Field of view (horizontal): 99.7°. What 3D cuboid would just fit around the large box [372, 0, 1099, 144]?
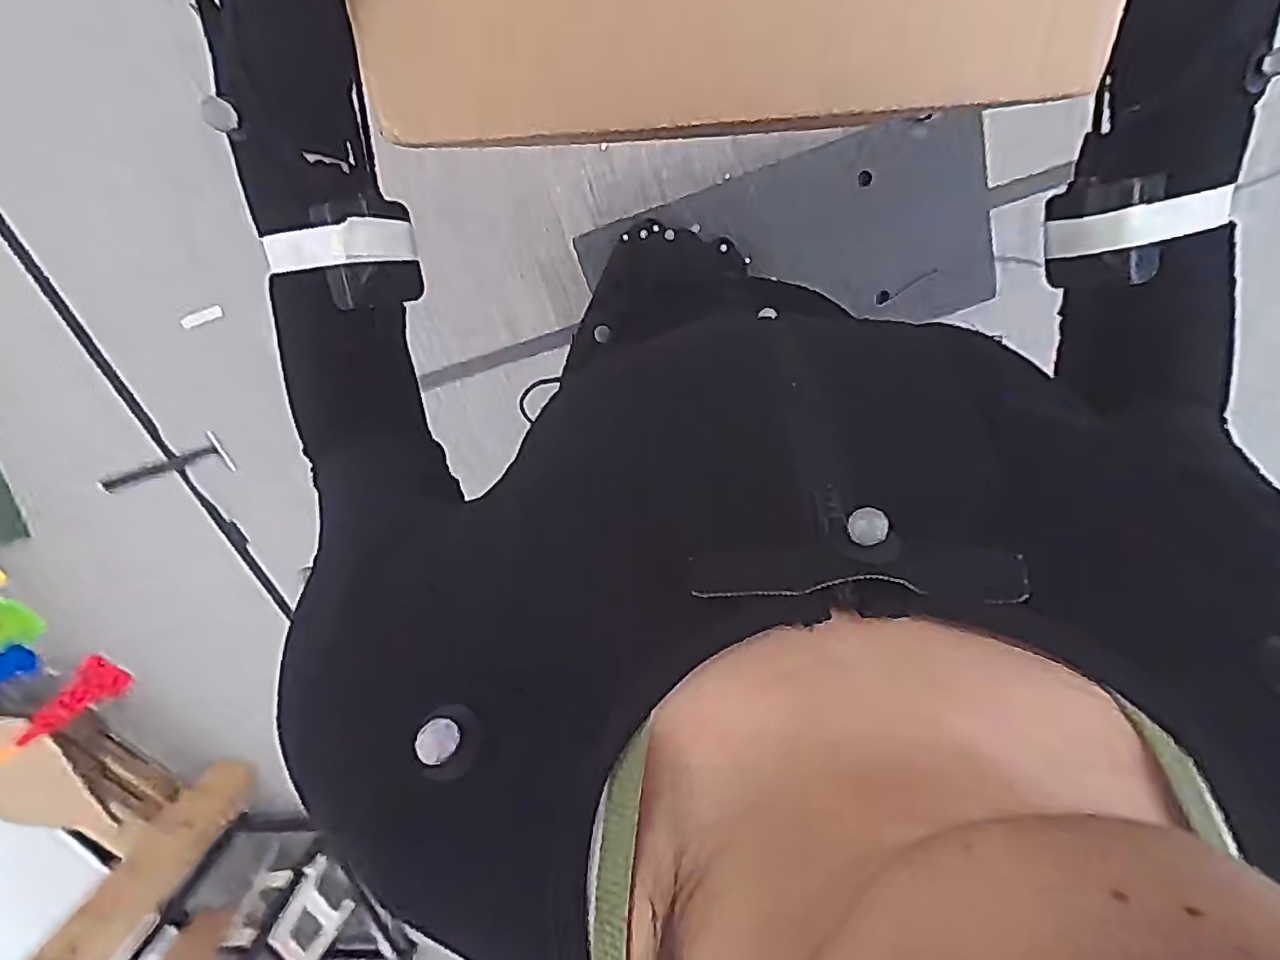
[{"bbox_3d":[0.049,-0.424,0.368,0.408,0.320,0.320,-2,121,2],"label":"large box"}]

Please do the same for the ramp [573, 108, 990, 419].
[{"bbox_3d":[0.379,-0.542,1.368,0.991,0.206,0.509,-17,111,13],"label":"ramp"}]
